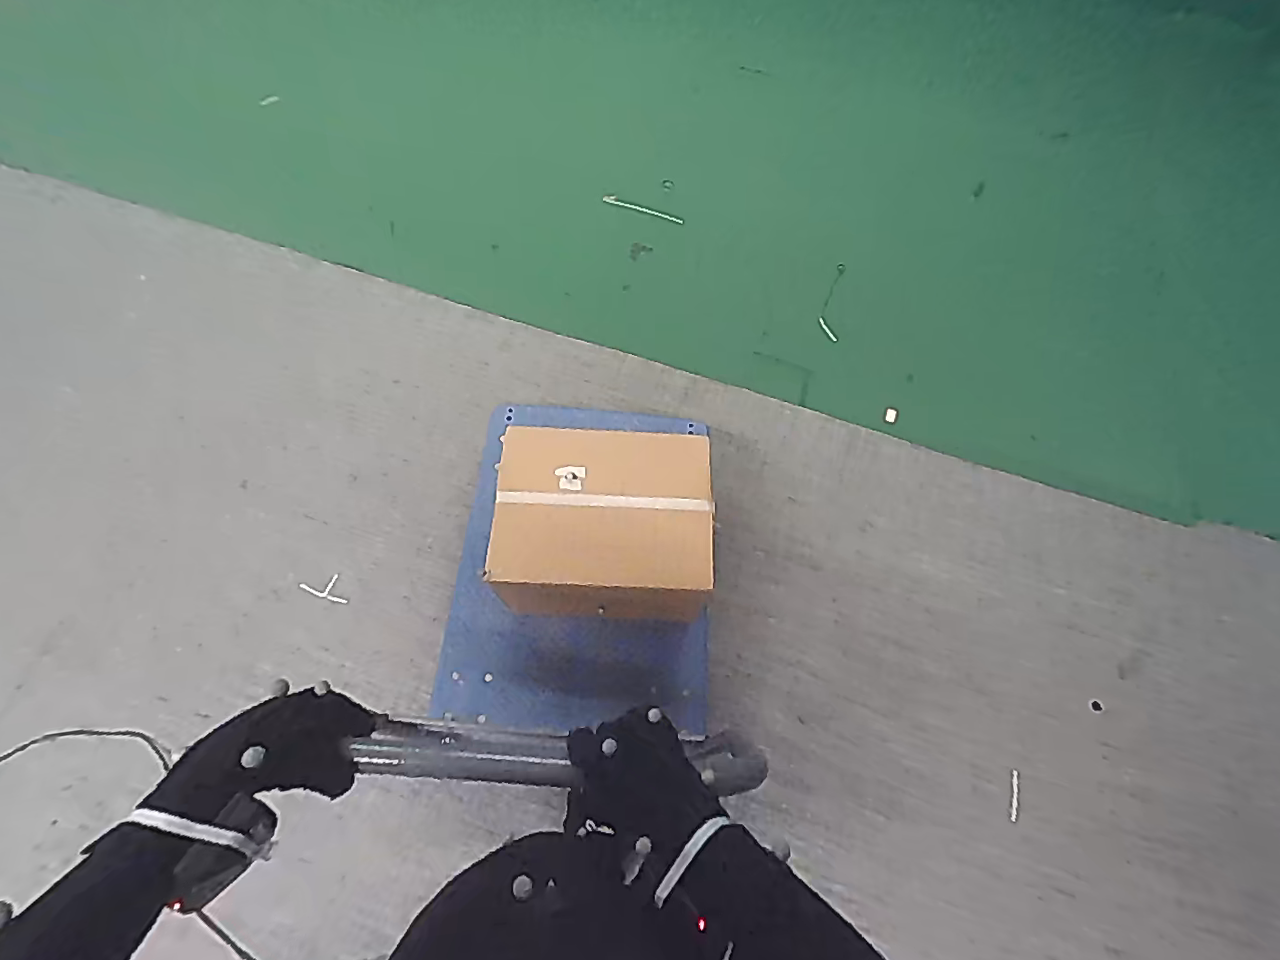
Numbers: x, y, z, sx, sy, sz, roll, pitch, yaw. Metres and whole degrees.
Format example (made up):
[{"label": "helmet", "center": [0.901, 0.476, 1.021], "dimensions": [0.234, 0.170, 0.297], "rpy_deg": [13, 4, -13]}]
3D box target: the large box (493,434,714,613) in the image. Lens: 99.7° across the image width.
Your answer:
[{"label": "large box", "center": [-0.066, 0.108, 1.162], "dimensions": [0.408, 0.320, 0.320], "rpy_deg": [1, 66, -1]}]
